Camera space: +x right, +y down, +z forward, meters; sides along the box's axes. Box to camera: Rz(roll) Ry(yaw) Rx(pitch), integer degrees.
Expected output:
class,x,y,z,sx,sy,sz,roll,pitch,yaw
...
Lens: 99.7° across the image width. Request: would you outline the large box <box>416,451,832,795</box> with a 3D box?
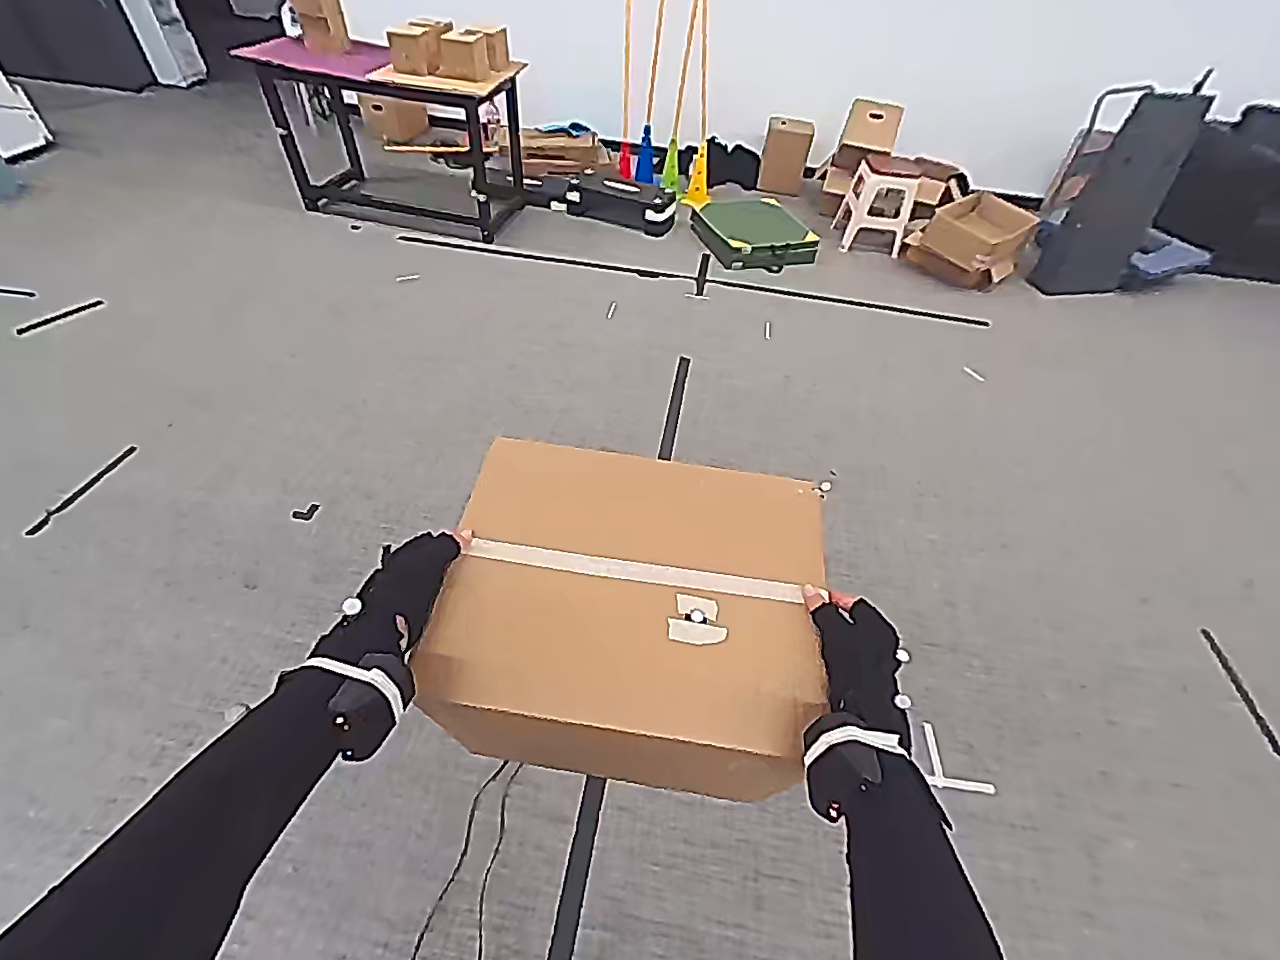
class,x,y,z,sx,sy,sz,roll,pitch,yaw
large box,-0.010,0.196,0.711,0.408,0.320,0.320,8,54,2
